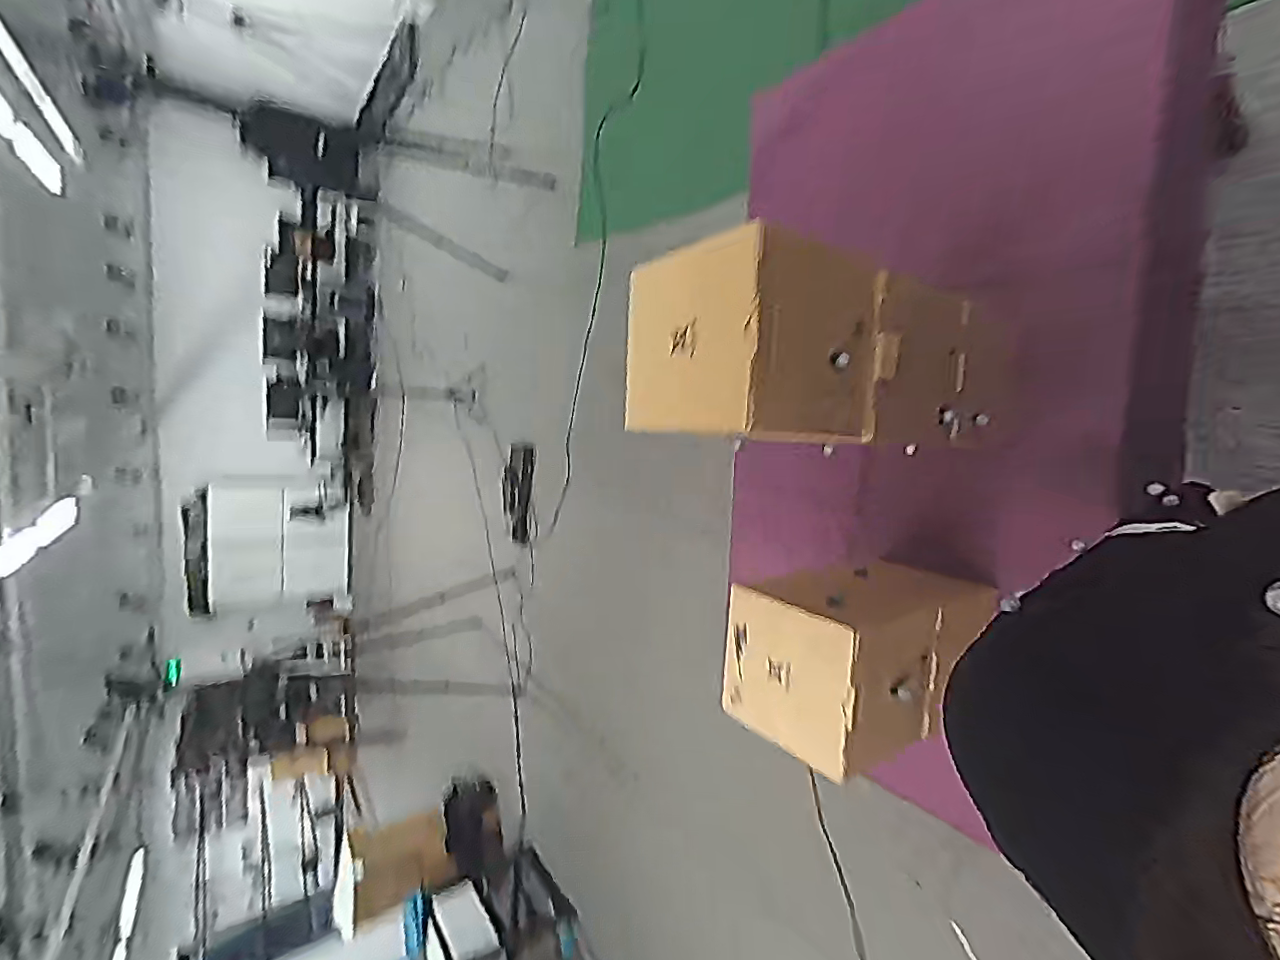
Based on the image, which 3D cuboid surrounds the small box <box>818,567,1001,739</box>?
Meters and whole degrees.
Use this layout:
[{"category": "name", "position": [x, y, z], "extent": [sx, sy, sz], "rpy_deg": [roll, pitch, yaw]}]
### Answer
[{"category": "small box", "position": [0.363, 0.222, 0.752], "extent": [0.179, 0.176, 0.168], "rpy_deg": [10, 98, 53]}]

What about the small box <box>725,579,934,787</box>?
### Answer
[{"category": "small box", "position": [0.229, 0.223, 0.656], "extent": [0.179, 0.176, 0.168], "rpy_deg": [10, 97, 52]}]

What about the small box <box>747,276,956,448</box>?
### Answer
[{"category": "small box", "position": [0.243, -0.124, 0.634], "extent": [0.179, 0.176, 0.168], "rpy_deg": [7, 96, 54]}]

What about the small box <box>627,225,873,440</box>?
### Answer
[{"category": "small box", "position": [0.107, -0.126, 0.545], "extent": [0.179, 0.176, 0.168], "rpy_deg": [6, 95, 53]}]
